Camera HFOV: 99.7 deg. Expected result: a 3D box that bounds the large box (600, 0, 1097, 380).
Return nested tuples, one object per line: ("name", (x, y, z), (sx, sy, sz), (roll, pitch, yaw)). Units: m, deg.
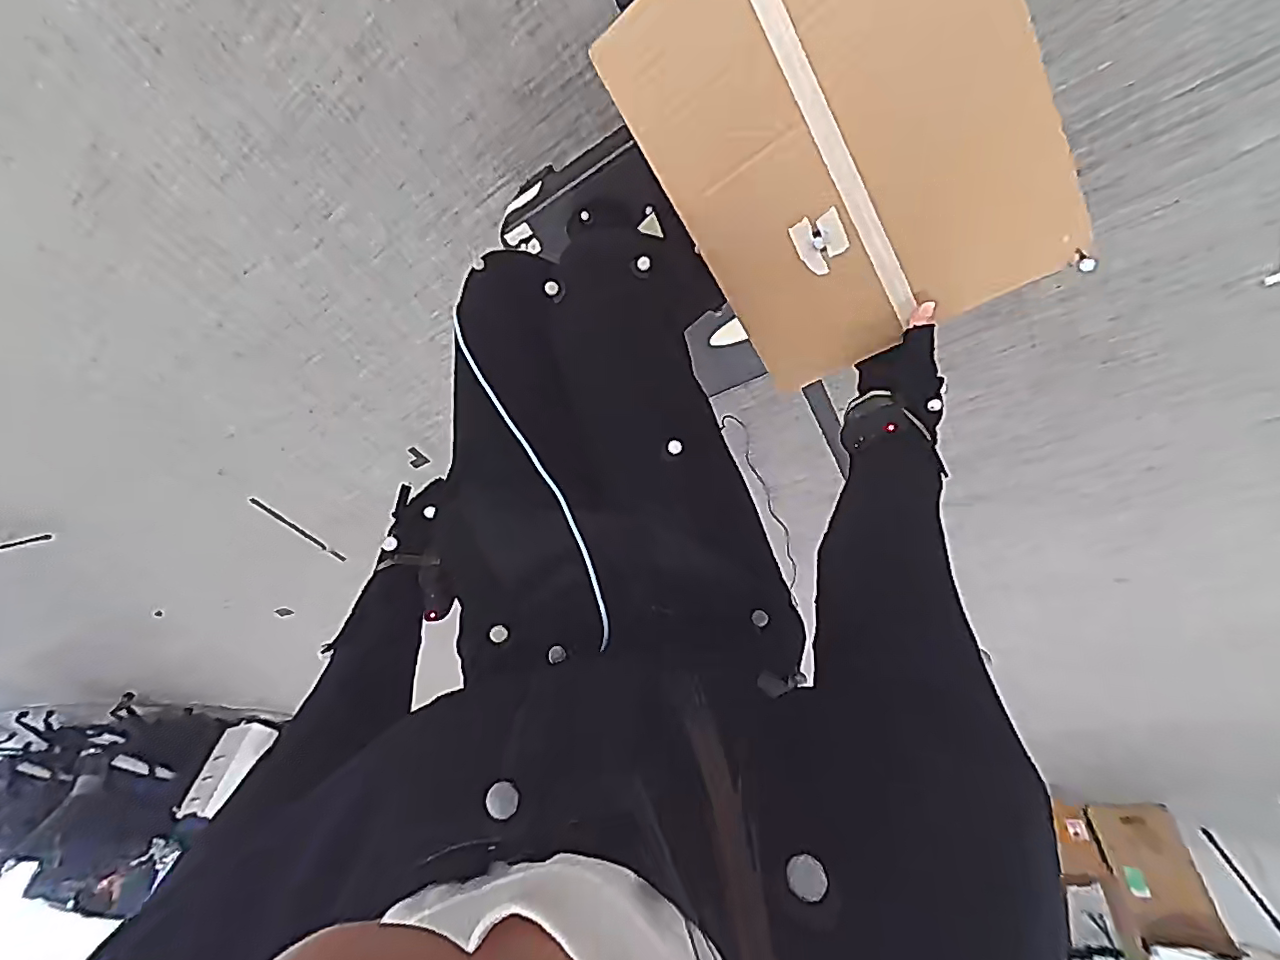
("large box", (0.228, -0.402, 0.622), (0.320, 0.320, 0.408), (-23, 113, 33))
